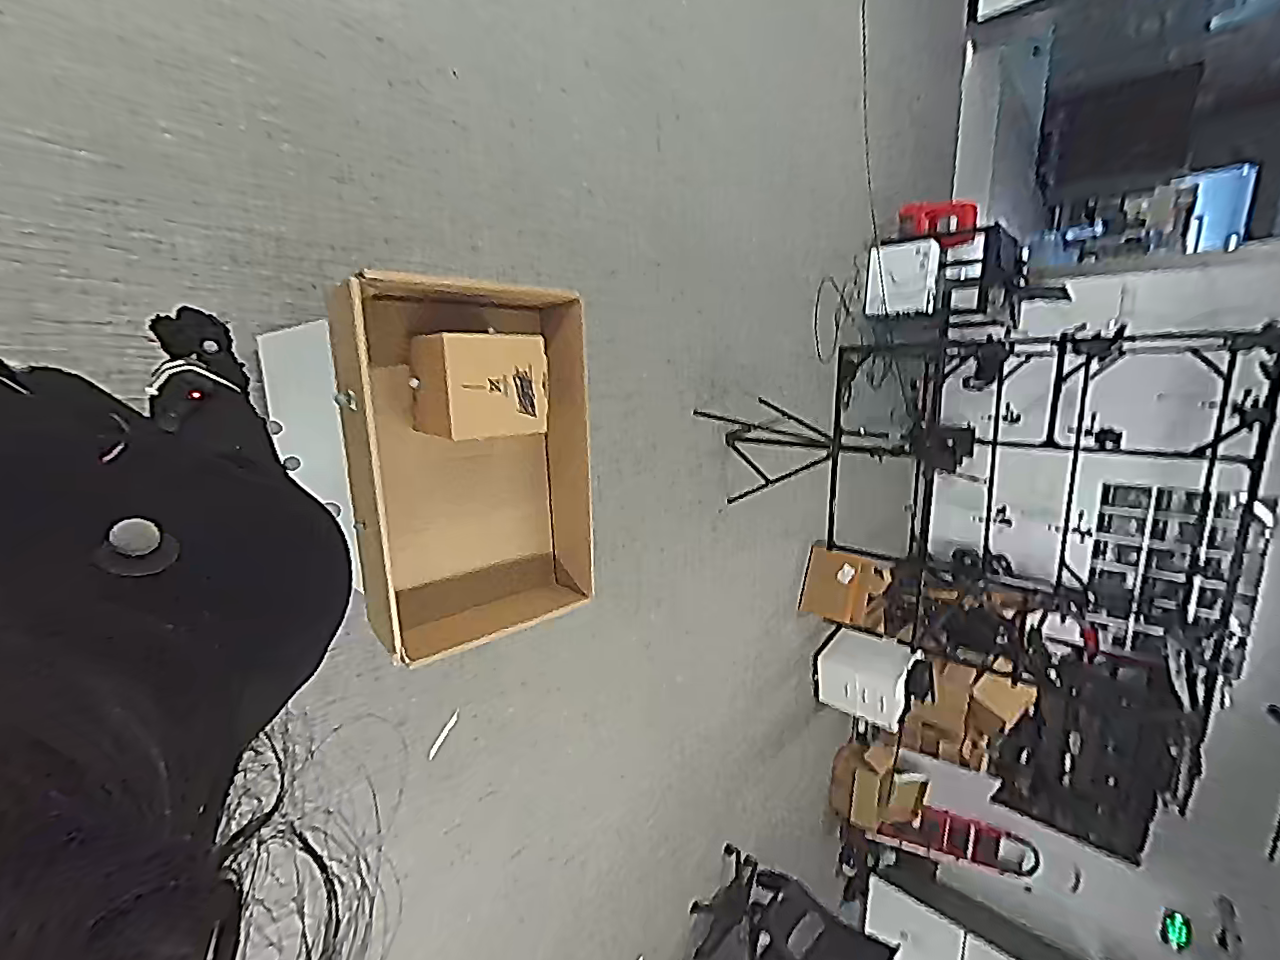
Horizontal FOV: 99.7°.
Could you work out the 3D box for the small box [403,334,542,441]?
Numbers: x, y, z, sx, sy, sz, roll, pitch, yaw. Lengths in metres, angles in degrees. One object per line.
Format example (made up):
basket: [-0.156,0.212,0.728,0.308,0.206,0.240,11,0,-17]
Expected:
small box: [-0.291,-0.163,0.941,0.179,0.176,0.168,-10,105,-41]
